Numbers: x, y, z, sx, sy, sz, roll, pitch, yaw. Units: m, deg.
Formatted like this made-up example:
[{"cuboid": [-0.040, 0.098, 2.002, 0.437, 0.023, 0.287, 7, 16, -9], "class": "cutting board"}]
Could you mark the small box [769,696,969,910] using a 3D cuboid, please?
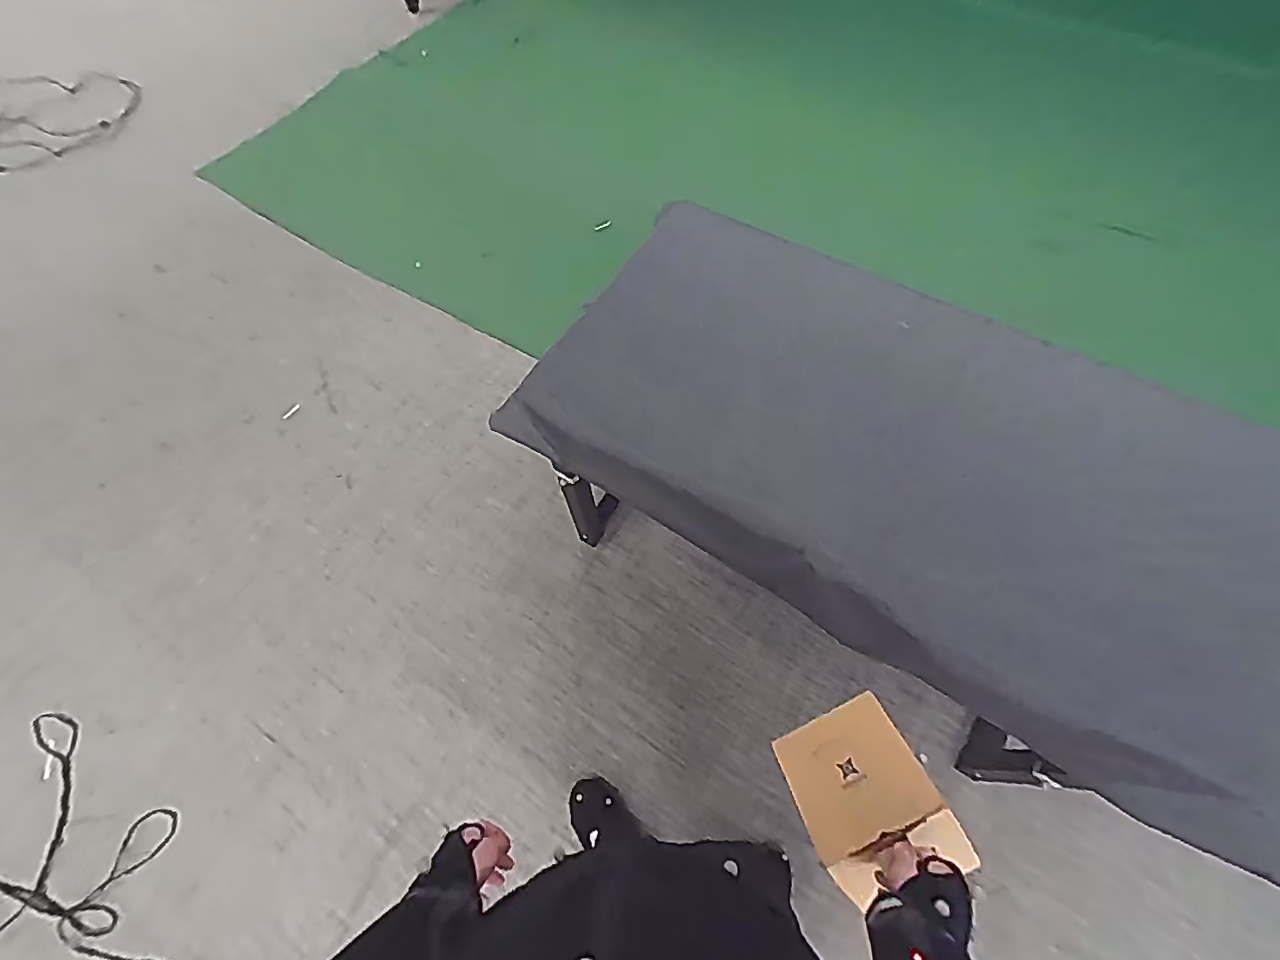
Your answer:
[{"cuboid": [0.308, 0.443, 0.738, 0.168, 0.176, 0.179, -31, 26, 6], "class": "small box"}]
